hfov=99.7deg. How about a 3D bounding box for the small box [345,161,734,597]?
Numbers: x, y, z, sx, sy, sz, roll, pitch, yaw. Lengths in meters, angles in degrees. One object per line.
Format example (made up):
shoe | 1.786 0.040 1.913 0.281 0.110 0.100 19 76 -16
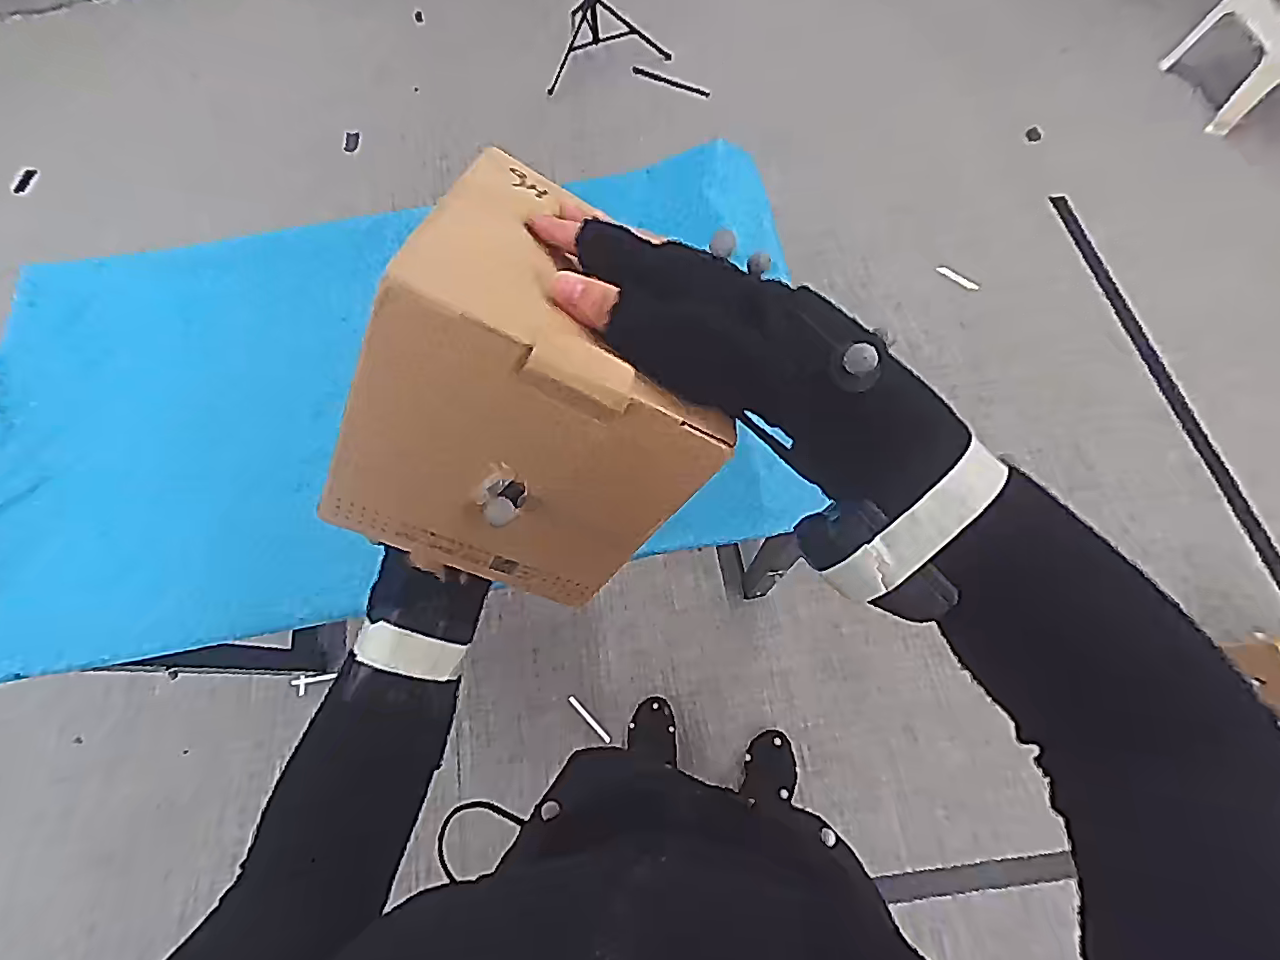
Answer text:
small box | -0.061 -0.054 0.343 0.168 0.176 0.179 28 39 -21

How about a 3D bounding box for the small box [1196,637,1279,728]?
small box | 1.395 0.437 1.173 0.168 0.176 0.179 -7 68 0
